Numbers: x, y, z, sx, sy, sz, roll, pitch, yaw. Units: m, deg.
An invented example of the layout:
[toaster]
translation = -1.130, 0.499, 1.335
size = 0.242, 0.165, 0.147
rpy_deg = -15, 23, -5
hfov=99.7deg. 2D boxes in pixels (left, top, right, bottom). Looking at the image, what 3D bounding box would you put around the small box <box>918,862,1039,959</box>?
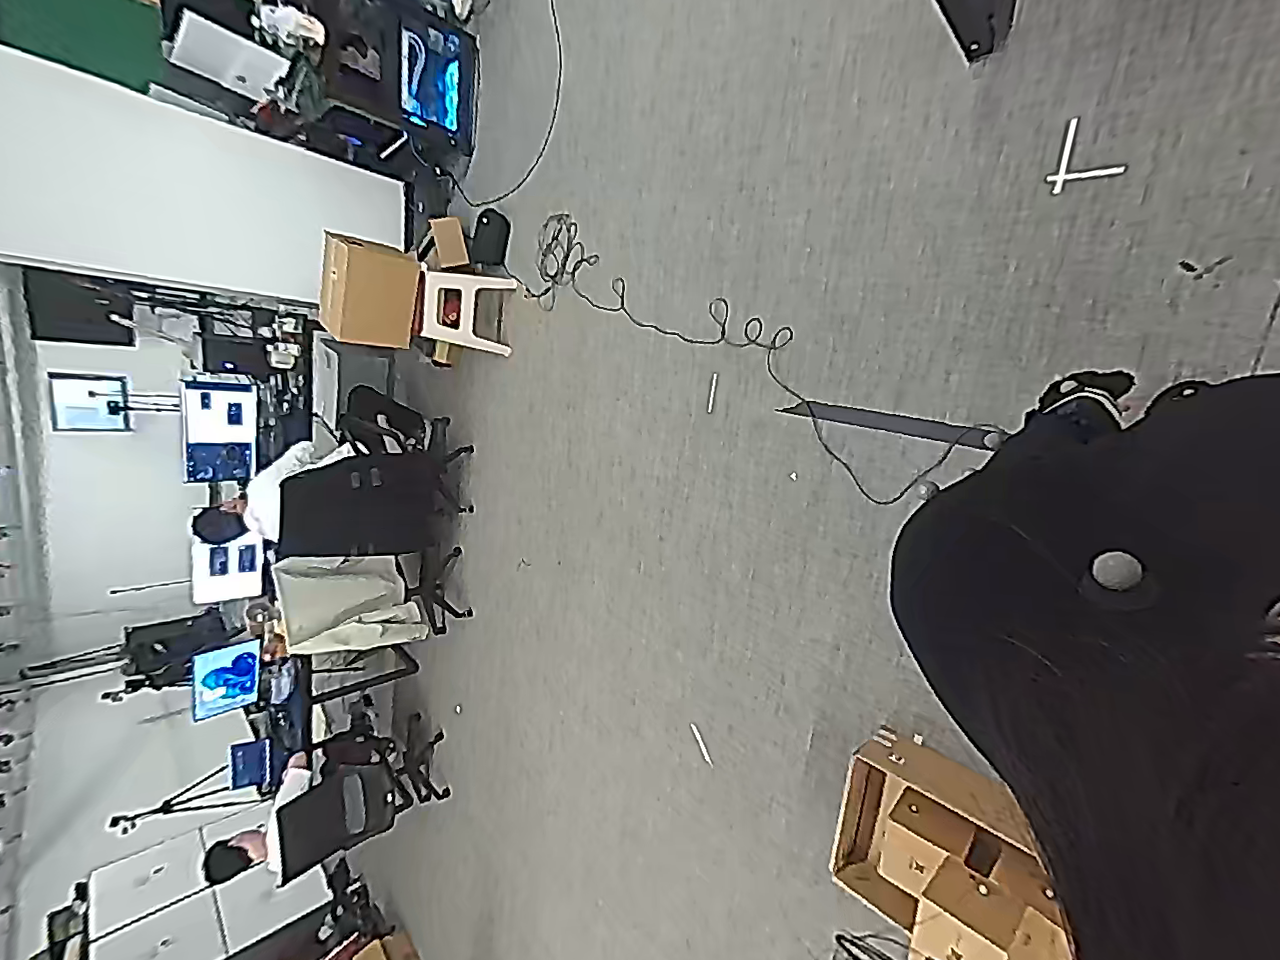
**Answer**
[small box]
translation = 0.724, 0.980, 1.154
size = 0.168, 0.176, 0.179
rpy_deg = 14, 103, 47
